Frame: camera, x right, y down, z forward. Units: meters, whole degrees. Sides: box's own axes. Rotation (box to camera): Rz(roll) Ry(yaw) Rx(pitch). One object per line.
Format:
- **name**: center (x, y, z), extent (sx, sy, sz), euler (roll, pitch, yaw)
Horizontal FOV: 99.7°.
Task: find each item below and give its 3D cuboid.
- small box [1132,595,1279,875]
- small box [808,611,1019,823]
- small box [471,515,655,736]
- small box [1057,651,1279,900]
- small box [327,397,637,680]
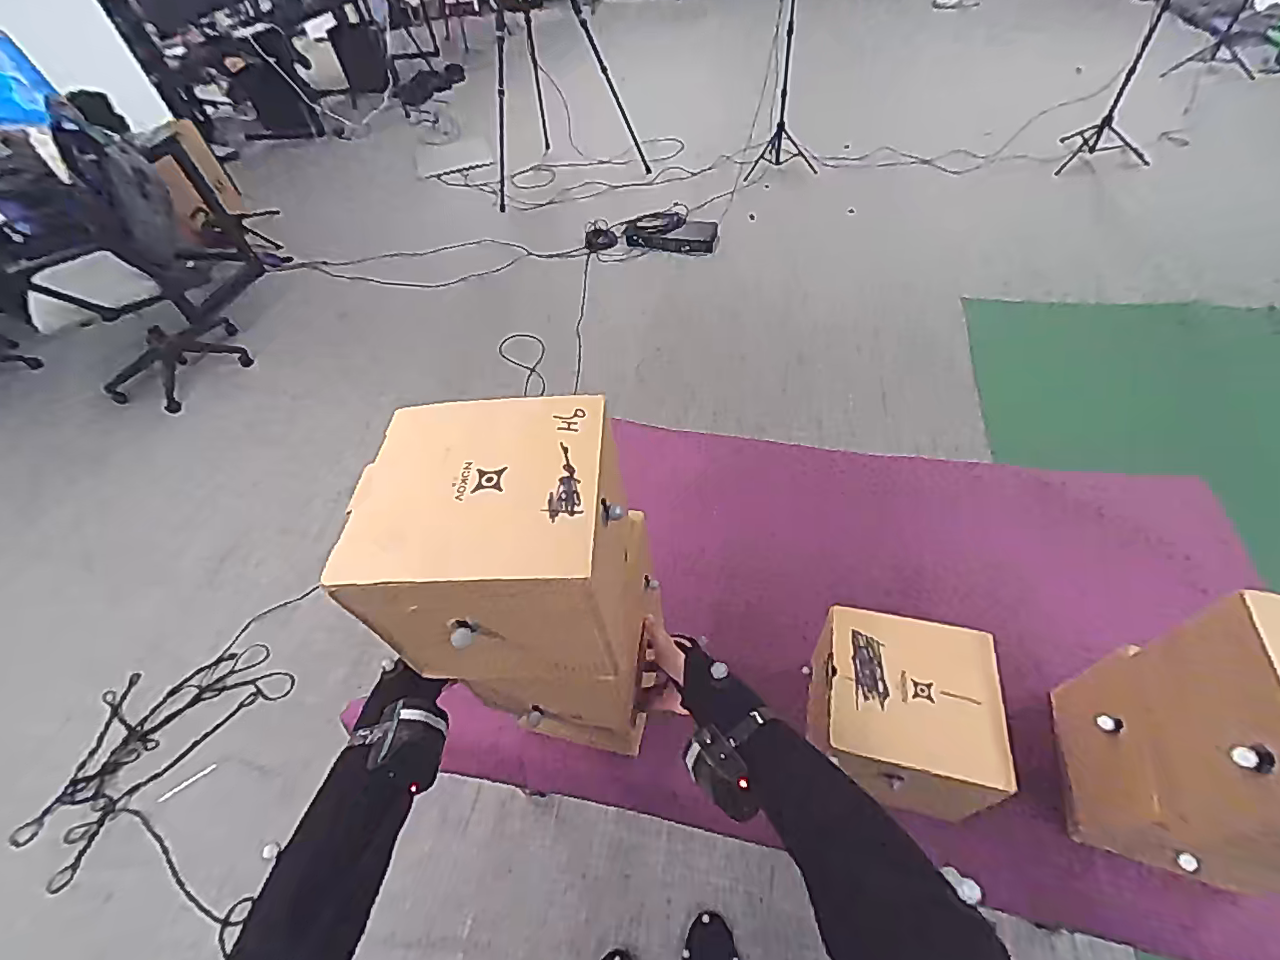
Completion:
- **small box**: center (0.561, 0.223, 0.439), extent (0.168, 0.176, 0.179), euler (9, 52, 14)
- **small box**: center (0.300, 0.280, 0.635), extent (0.179, 0.176, 0.168), euler (8, 51, 13)
- **small box**: center (-0.077, 0.148, 0.573), extent (0.168, 0.176, 0.179), euler (3, 52, 9)
- **small box**: center (0.583, 0.315, 0.575), extent (0.168, 0.176, 0.179), euler (11, 53, 16)
- **small box**: center (-0.101, 0.054, 0.441), extent (0.179, 0.176, 0.168), euler (-3, 50, 5)
